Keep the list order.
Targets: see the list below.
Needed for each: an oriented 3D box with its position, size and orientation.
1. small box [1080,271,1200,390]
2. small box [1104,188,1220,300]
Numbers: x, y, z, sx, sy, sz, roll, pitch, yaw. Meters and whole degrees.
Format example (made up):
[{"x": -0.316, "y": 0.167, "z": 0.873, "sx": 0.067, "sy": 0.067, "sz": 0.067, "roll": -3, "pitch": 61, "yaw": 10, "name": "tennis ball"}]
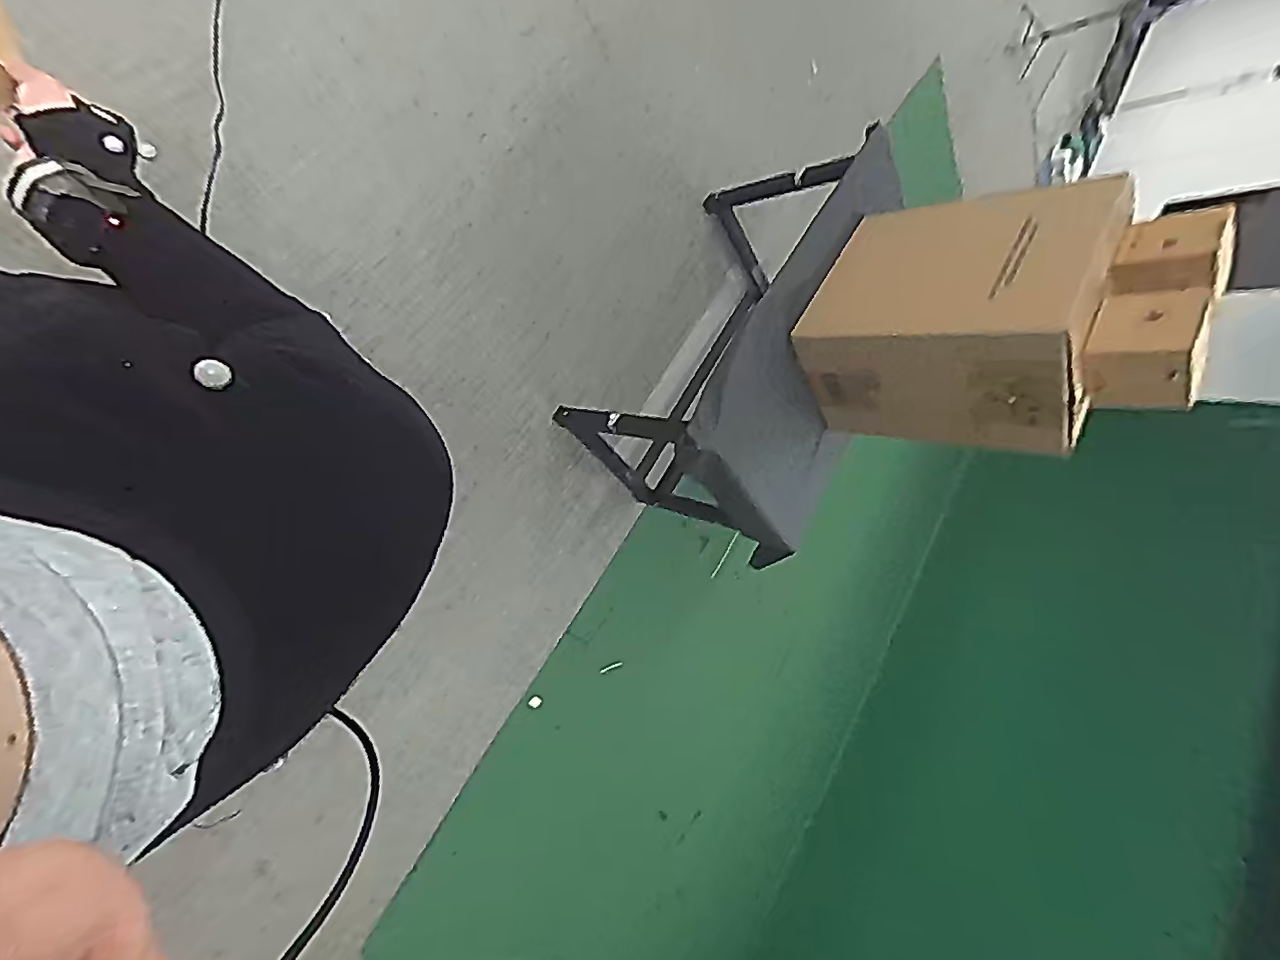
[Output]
[{"x": 1.061, "y": -0.309, "z": 1.152, "sx": 0.168, "sy": 0.176, "sz": 0.179, "roll": 45, "pitch": 66, "yaw": -35, "name": "small box"}, {"x": 1.187, "y": -0.520, "z": 1.235, "sx": 0.168, "sy": 0.176, "sz": 0.179, "roll": -54, "pitch": 127, "yaw": -20, "name": "small box"}]
